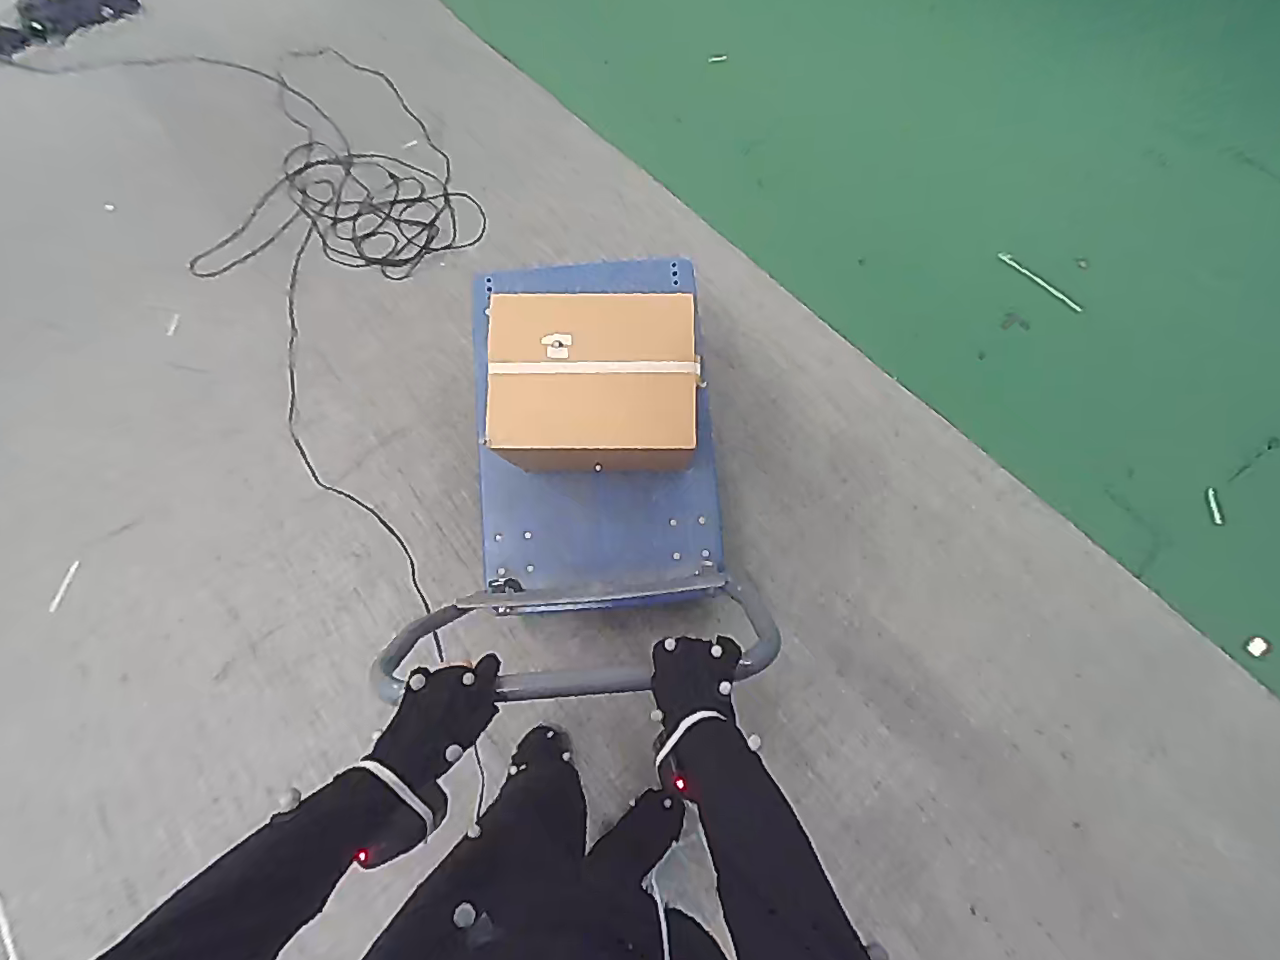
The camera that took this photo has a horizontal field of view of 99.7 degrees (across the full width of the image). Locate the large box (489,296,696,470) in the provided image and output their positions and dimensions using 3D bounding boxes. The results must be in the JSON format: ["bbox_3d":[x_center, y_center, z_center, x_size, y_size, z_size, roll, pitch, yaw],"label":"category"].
[{"bbox_3d":[-0.087,-0.190,1.196,0.408,0.320,0.320,0,83,2],"label":"large box"}]
